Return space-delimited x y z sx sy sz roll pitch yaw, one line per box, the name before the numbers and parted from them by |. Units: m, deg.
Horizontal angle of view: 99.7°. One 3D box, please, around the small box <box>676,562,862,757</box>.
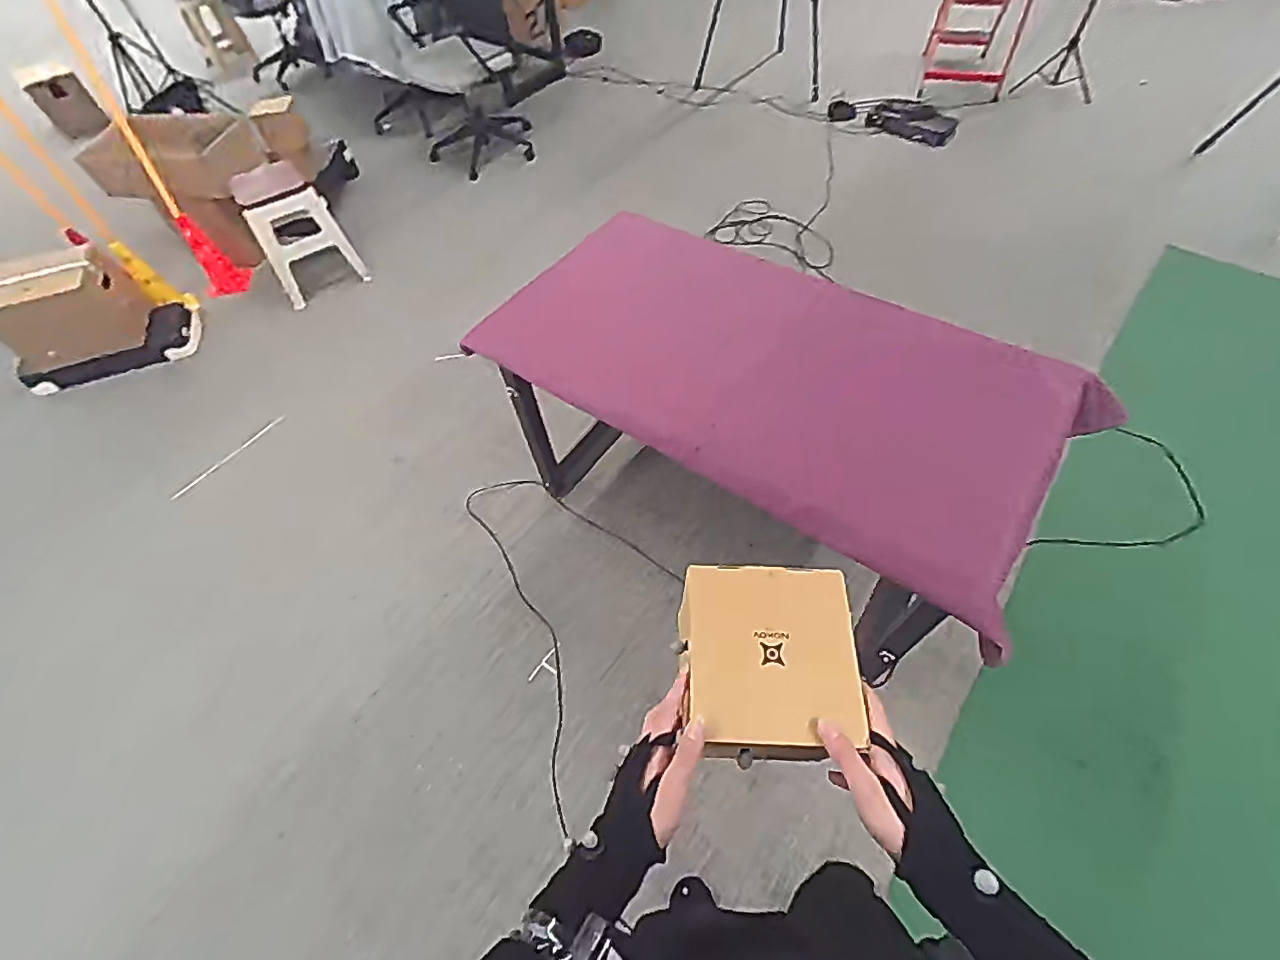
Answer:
small box | 0.127 0.205 0.604 0.168 0.176 0.179 1 58 2
